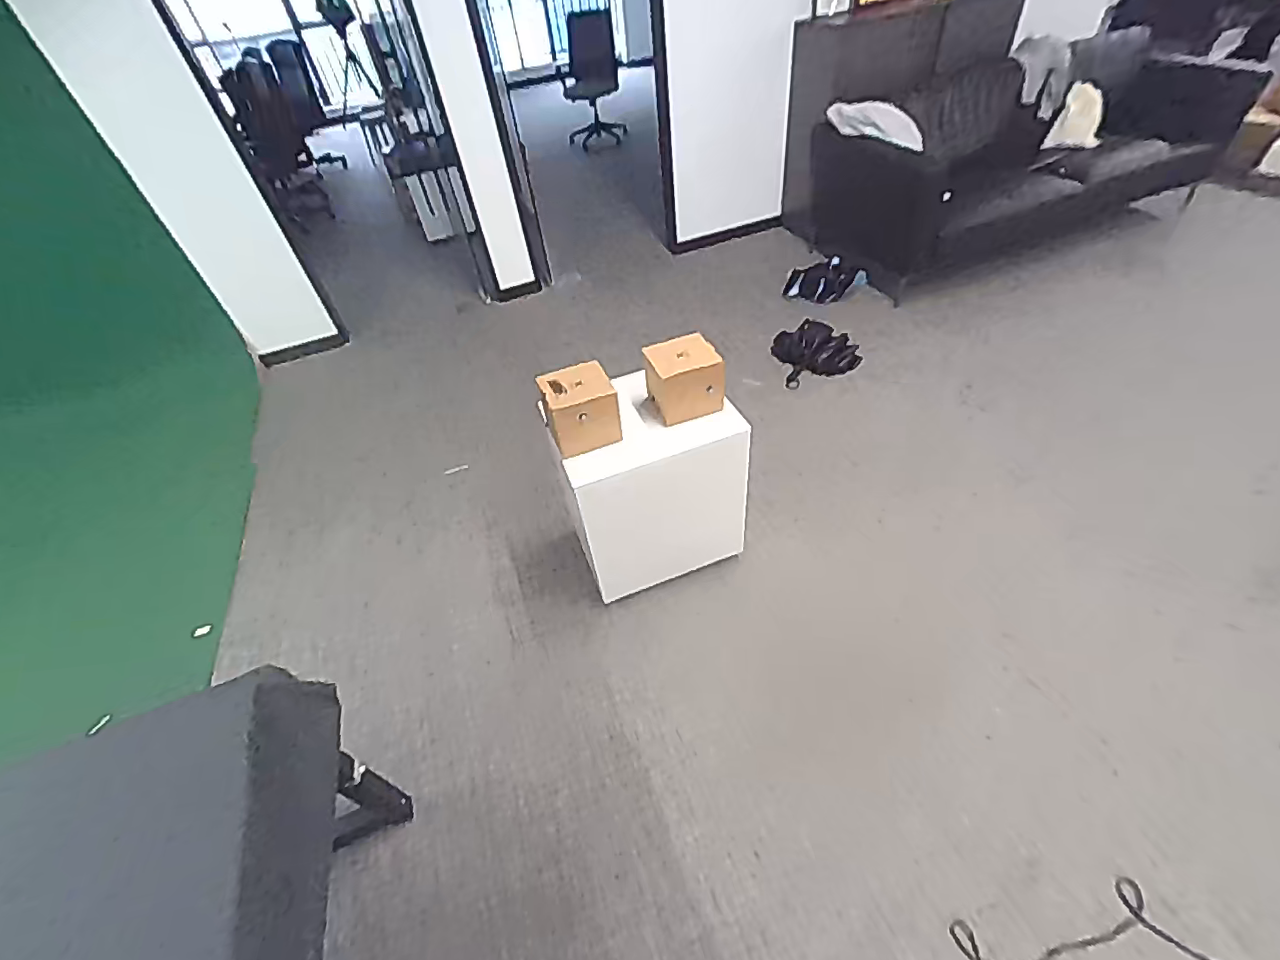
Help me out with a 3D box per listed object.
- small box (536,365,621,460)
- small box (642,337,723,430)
[{"bbox_3d":[-0.162,-0.179,1.450,0.179,0.176,0.168,-19,46,-13],"label":"small box"},{"bbox_3d":[0.119,-0.267,1.501,0.179,0.176,0.168,-19,45,-8],"label":"small box"}]
